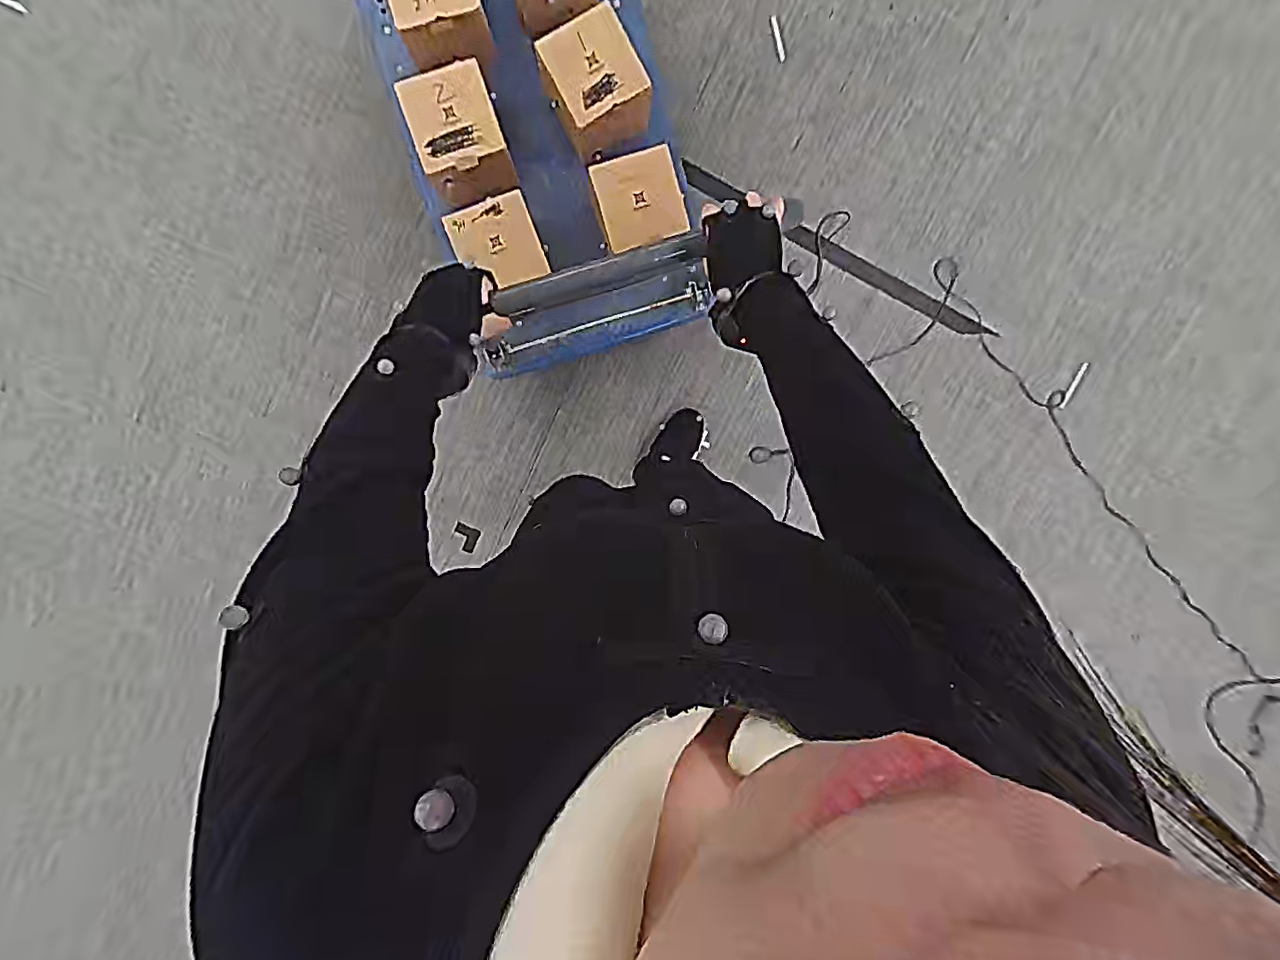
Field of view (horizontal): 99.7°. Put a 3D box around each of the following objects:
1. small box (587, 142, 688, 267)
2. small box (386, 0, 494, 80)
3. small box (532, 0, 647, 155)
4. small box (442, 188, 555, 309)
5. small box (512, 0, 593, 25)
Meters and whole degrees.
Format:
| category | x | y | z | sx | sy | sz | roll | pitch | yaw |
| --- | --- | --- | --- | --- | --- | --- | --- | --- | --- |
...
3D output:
| category | x | y | z | sx | sy | sz | roll | pitch | yaw |
| --- | --- | --- | --- | --- | --- | --- | --- | --- | --- |
| small box | -0.007 | -0.573 | 1.153 | 0.168 | 0.176 | 0.179 | -18 | 97 | -2 |
| small box | -0.407 | -0.955 | 1.078 | 0.168 | 0.176 | 0.179 | -16 | 99 | -1 |
| small box | -0.098 | -0.811 | 1.116 | 0.168 | 0.176 | 0.179 | -30 | 97 | 1 |
| small box | -0.288 | -0.475 | 1.146 | 0.168 | 0.176 | 0.179 | -22 | 98 | -1 |
| small box | -0.198 | -1.062 | 1.078 | 0.168 | 0.176 | 0.179 | -21 | 98 | 0 |
